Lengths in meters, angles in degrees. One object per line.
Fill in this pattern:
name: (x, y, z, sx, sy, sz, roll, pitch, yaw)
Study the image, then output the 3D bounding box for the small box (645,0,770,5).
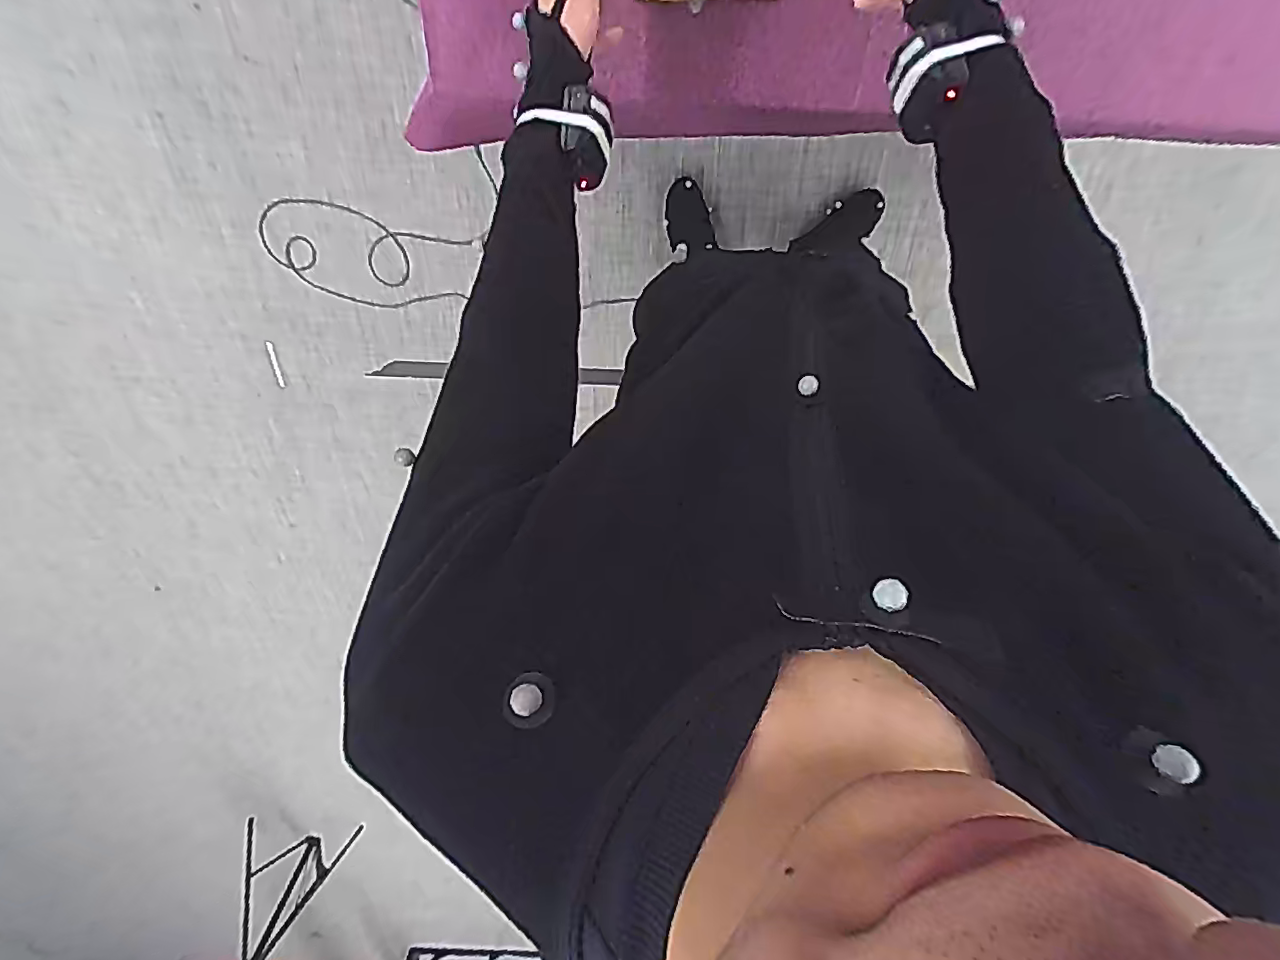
small box: (0.071, -0.560, 0.483, 0.168, 0.176, 0.179, 0, 122, 2)
